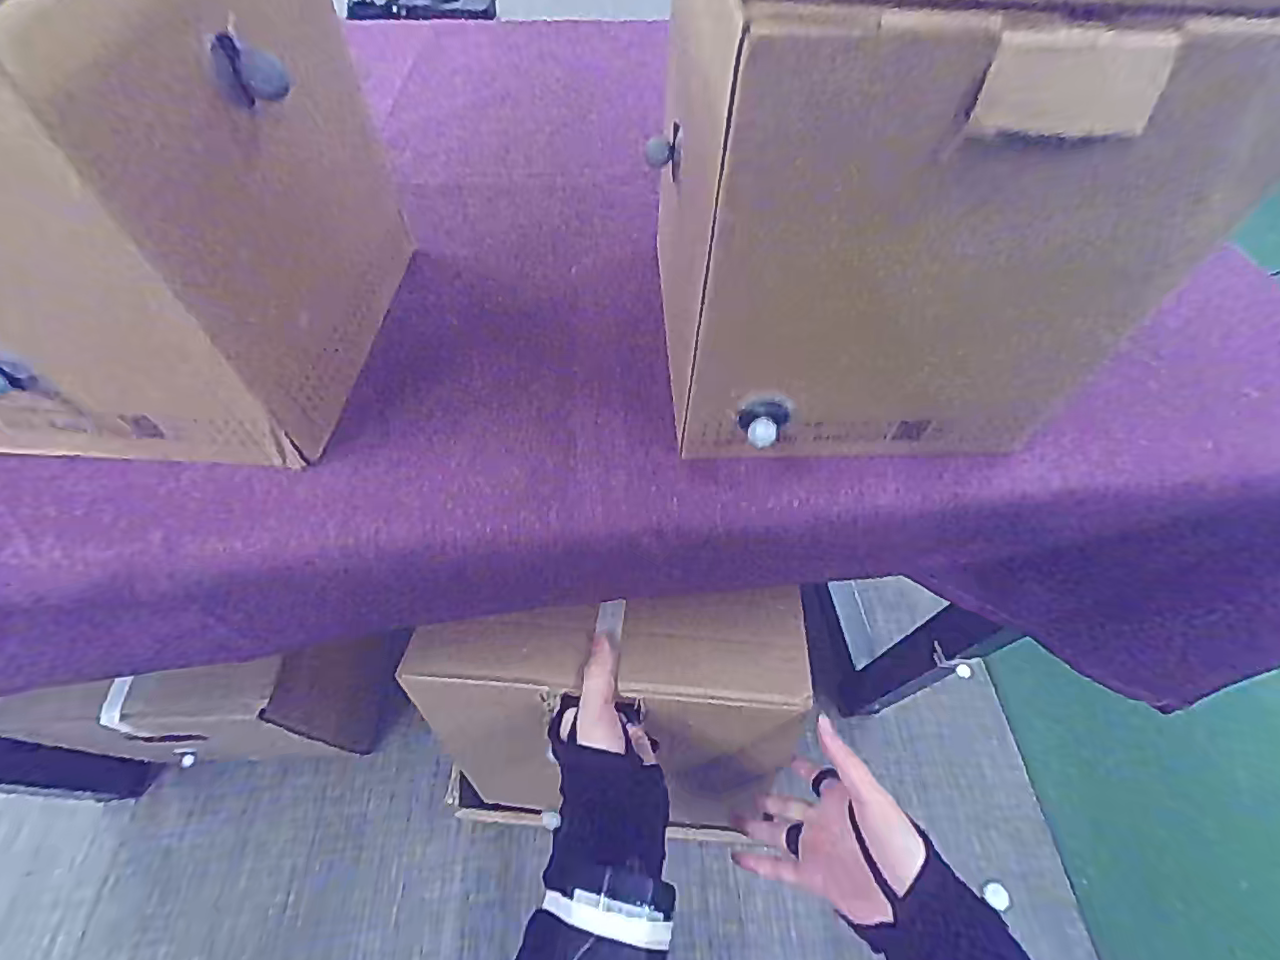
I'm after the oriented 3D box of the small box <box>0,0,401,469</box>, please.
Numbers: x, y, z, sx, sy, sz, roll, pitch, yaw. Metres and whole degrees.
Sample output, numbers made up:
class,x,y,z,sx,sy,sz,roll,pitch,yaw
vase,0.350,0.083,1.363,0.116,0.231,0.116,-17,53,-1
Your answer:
class,x,y,z,sx,sy,sz,roll,pitch,yaw
small box,-0.224,-0.126,0.230,0.168,0.176,0.179,3,57,0

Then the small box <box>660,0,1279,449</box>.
class,x,y,z,sx,sy,sz,roll,pitch,yaw
small box,0.097,-0.126,0.239,0.168,0.176,0.179,-1,55,-3
